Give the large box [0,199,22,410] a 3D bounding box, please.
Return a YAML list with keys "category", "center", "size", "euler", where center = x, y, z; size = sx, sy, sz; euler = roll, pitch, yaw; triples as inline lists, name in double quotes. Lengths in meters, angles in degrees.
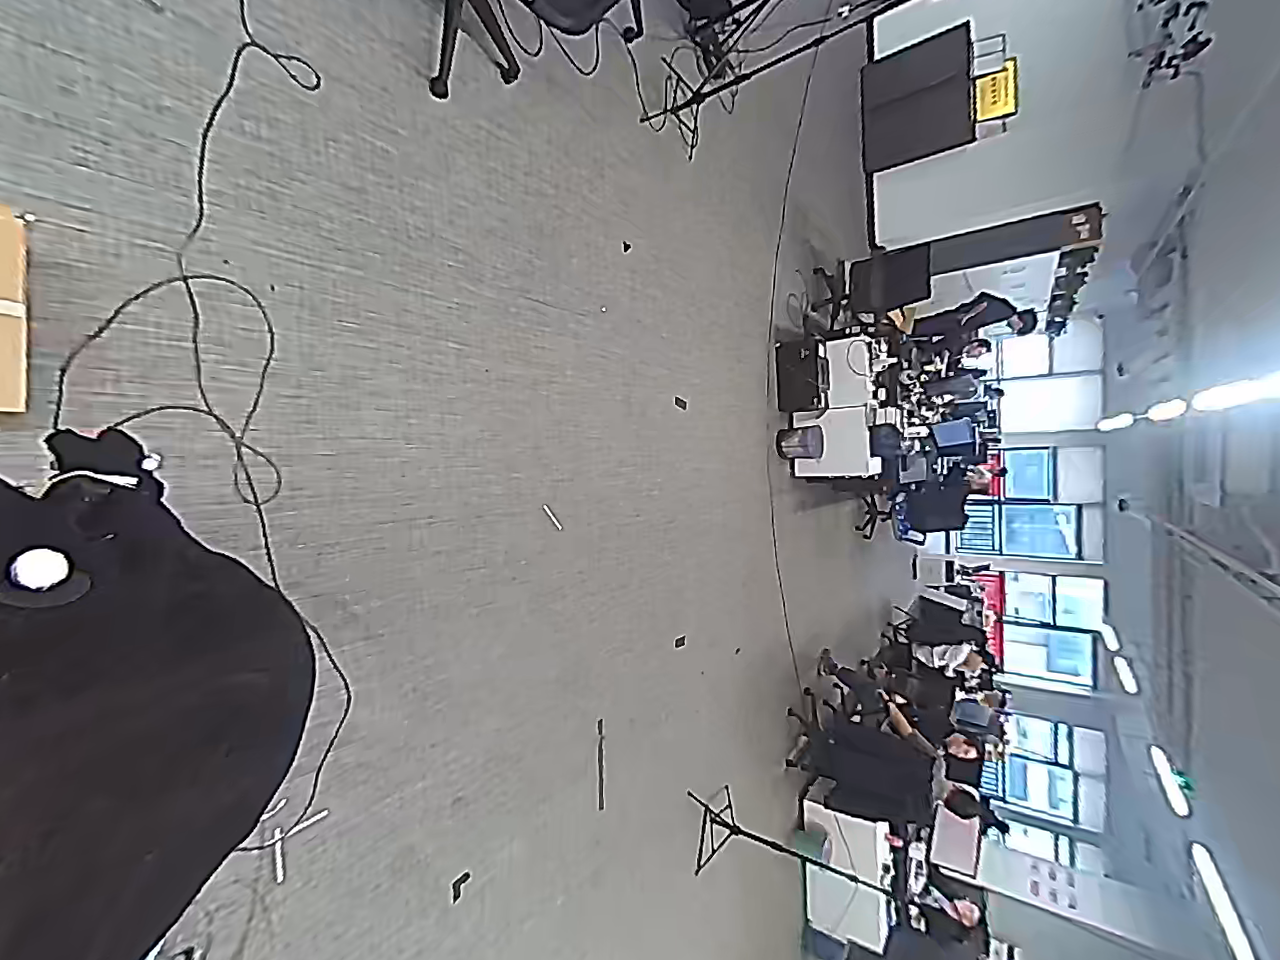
- category: "large box"
  center: [-1.183, -0.265, 0.744]
  size: [0.408, 0.320, 0.320]
  euler: [0, 90, -56]
